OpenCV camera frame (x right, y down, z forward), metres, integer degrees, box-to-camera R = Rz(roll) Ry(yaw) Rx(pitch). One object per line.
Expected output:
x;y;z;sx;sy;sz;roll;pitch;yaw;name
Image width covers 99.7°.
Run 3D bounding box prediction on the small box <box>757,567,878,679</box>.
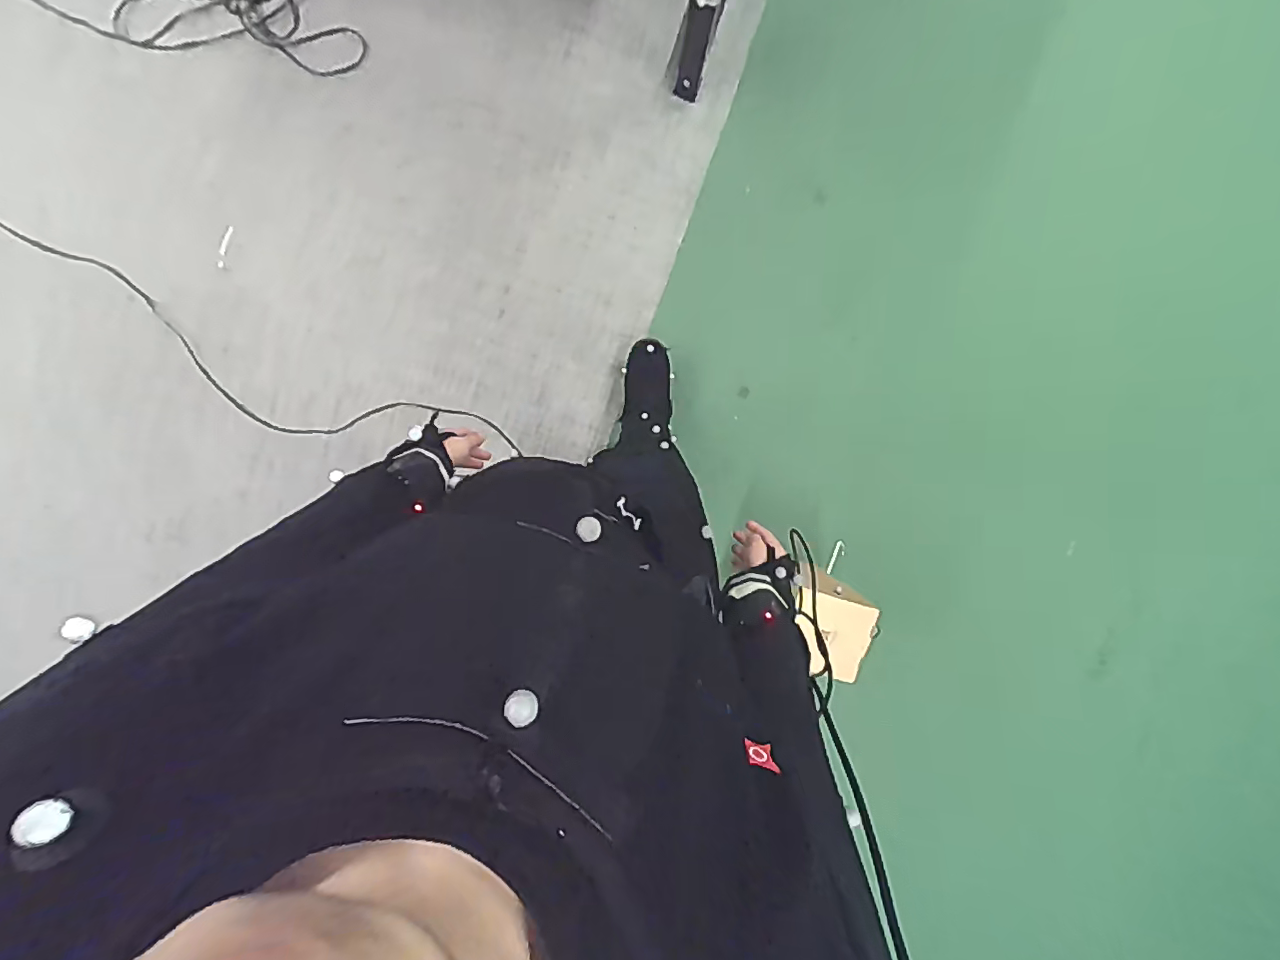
0.374;0.301;1.175;0.179;0.176;0.168;16;96;-5;small box
